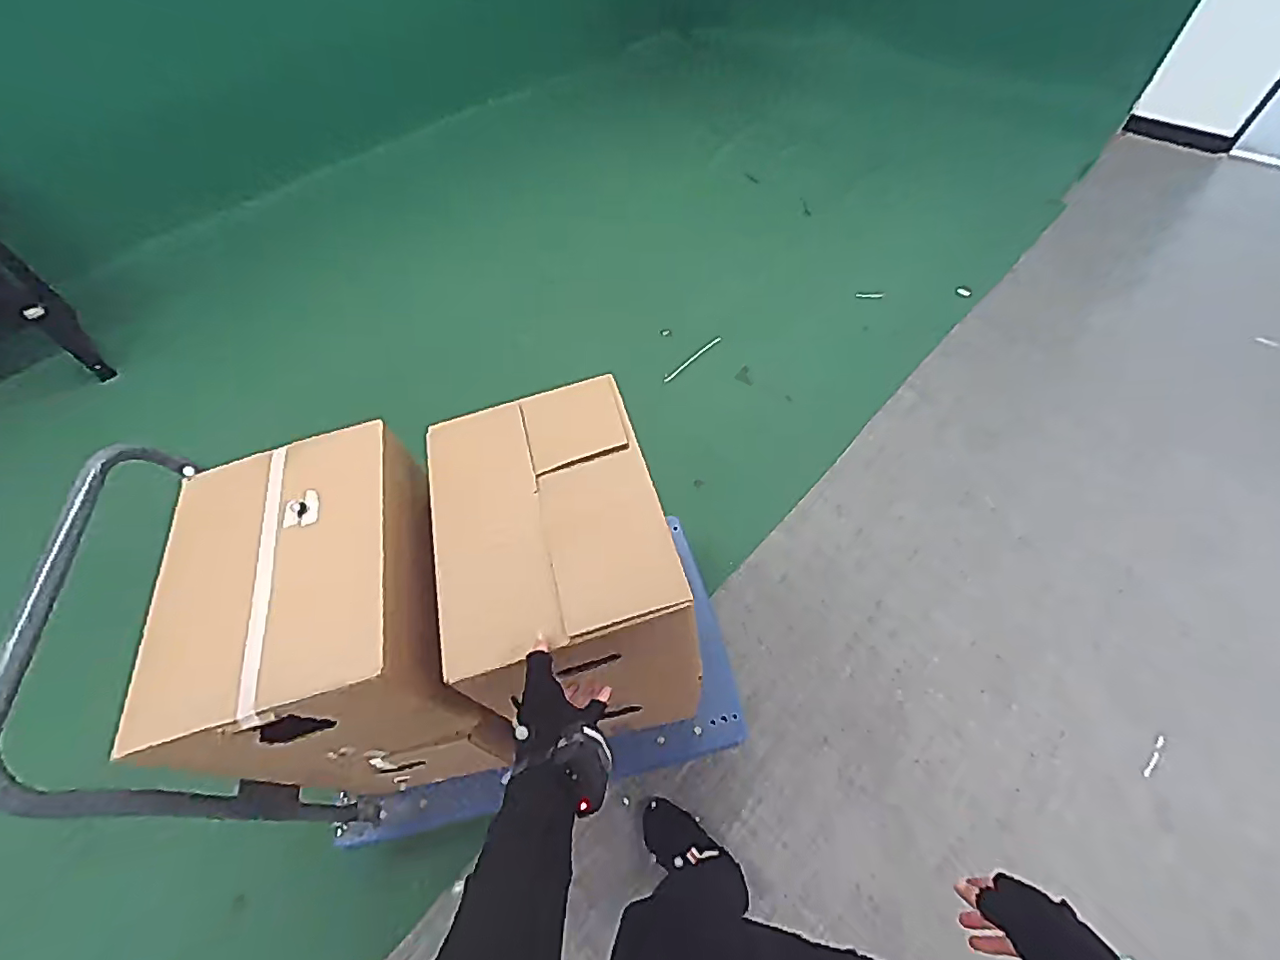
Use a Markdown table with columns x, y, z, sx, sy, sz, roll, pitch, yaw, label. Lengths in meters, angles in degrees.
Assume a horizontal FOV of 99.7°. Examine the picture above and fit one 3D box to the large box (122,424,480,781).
| x | y | z | sx | sy | sz | roll | pitch | yaw | label |
| --- | --- | --- | --- | --- | --- | --- | --- | --- | --- |
| -0.470 | 0.193 | 0.843 | 0.320 | 0.320 | 0.408 | -17 | 55 | -3 | large box |
